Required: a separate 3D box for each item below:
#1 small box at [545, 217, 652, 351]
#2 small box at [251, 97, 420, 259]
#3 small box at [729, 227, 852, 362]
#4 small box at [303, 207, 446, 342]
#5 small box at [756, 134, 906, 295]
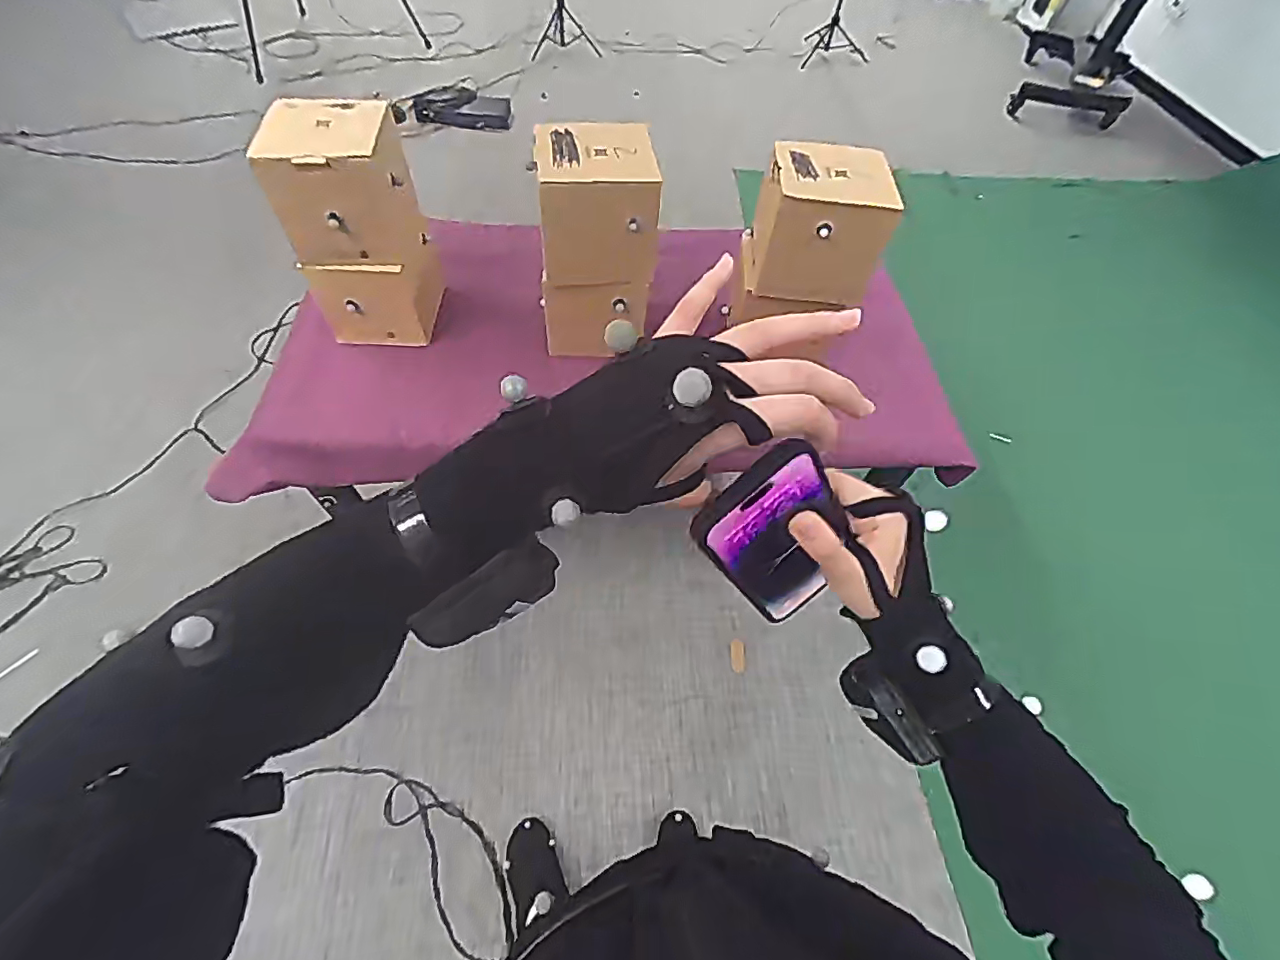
[{"bbox_3d":[-0.073,-0.351,0.987,0.179,0.176,0.168,0,57,-3],"label":"small box"},{"bbox_3d":[-0.456,-0.465,0.845,0.168,0.176,0.179,-3,58,-6],"label":"small box"},{"bbox_3d":[0.267,-0.337,0.999,0.179,0.176,0.168,5,57,1],"label":"small box"},{"bbox_3d":[-0.464,-0.368,0.978,0.168,0.176,0.179,1,57,-3],"label":"small box"},{"bbox_3d":[0.284,-0.414,0.854,0.179,0.176,0.168,5,57,0],"label":"small box"}]
